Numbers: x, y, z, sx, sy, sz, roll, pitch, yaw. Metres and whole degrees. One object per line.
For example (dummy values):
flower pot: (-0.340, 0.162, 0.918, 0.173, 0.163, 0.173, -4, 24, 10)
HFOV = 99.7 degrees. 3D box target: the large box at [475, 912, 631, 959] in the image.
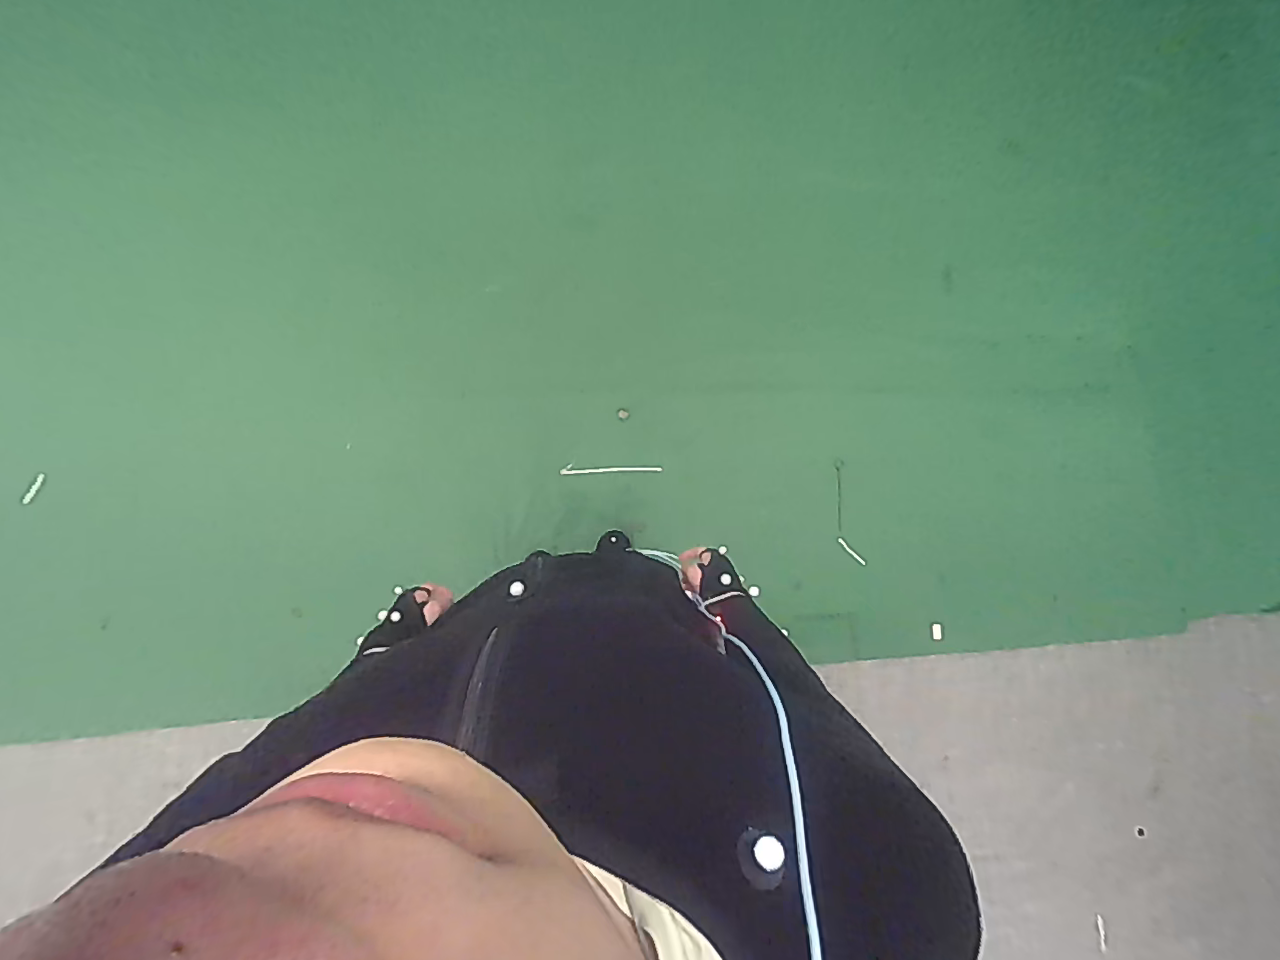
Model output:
large box: (-0.212, 1.372, 1.352, 0.408, 0.320, 0.320, -5, 83, -7)
